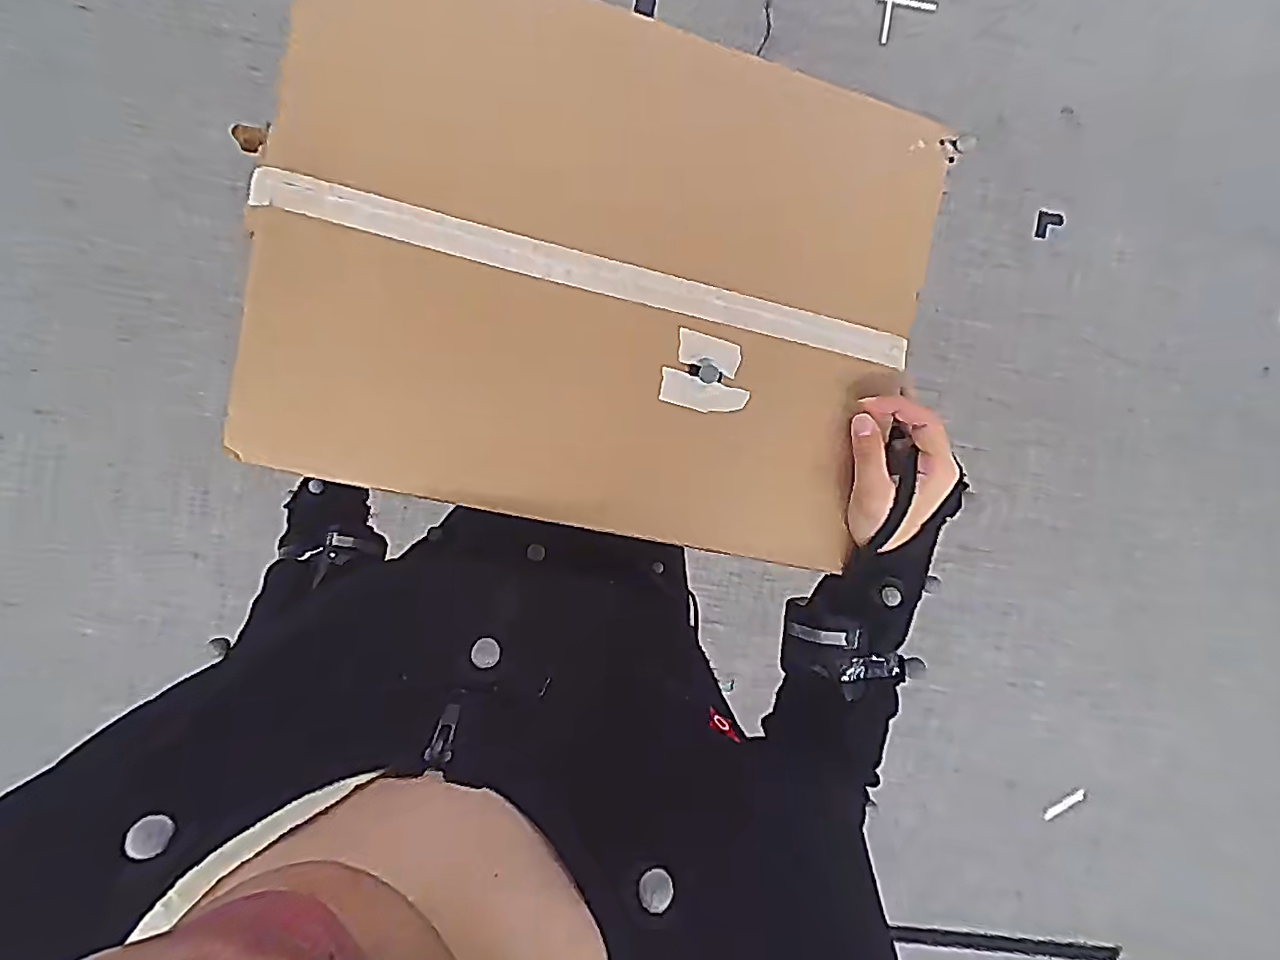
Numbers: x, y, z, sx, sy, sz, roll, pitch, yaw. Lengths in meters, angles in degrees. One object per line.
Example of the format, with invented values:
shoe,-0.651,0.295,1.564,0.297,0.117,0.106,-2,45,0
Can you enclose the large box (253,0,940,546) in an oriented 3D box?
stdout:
large box,-0.037,-0.147,0.492,0.408,0.320,0.320,12,94,-11
